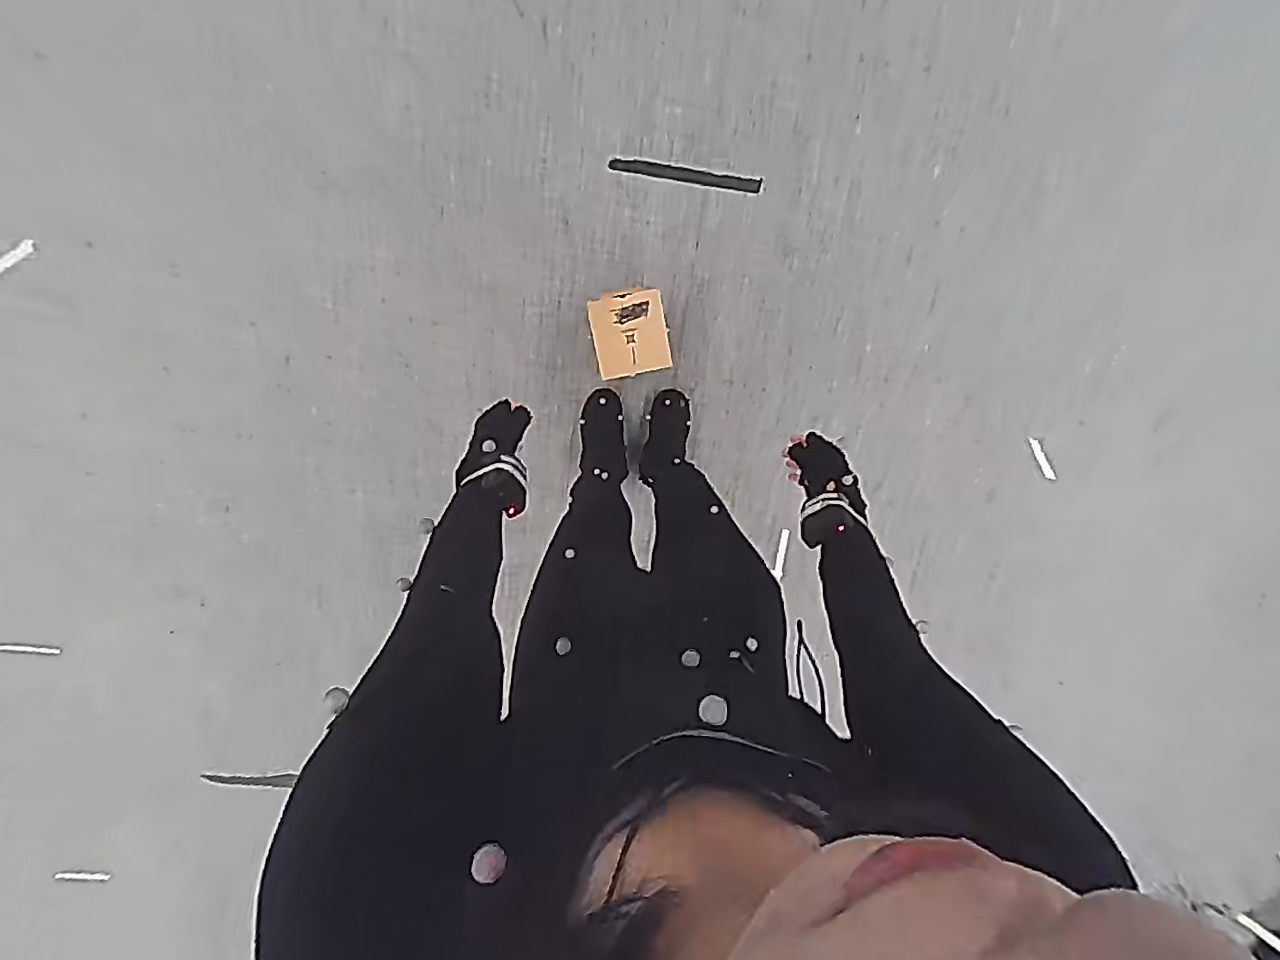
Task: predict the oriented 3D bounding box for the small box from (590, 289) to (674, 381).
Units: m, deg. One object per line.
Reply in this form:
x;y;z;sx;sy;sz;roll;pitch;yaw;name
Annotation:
-0.023;-0.339;1.271;0.168;0.176;0.179;-11;107;-1;small box
